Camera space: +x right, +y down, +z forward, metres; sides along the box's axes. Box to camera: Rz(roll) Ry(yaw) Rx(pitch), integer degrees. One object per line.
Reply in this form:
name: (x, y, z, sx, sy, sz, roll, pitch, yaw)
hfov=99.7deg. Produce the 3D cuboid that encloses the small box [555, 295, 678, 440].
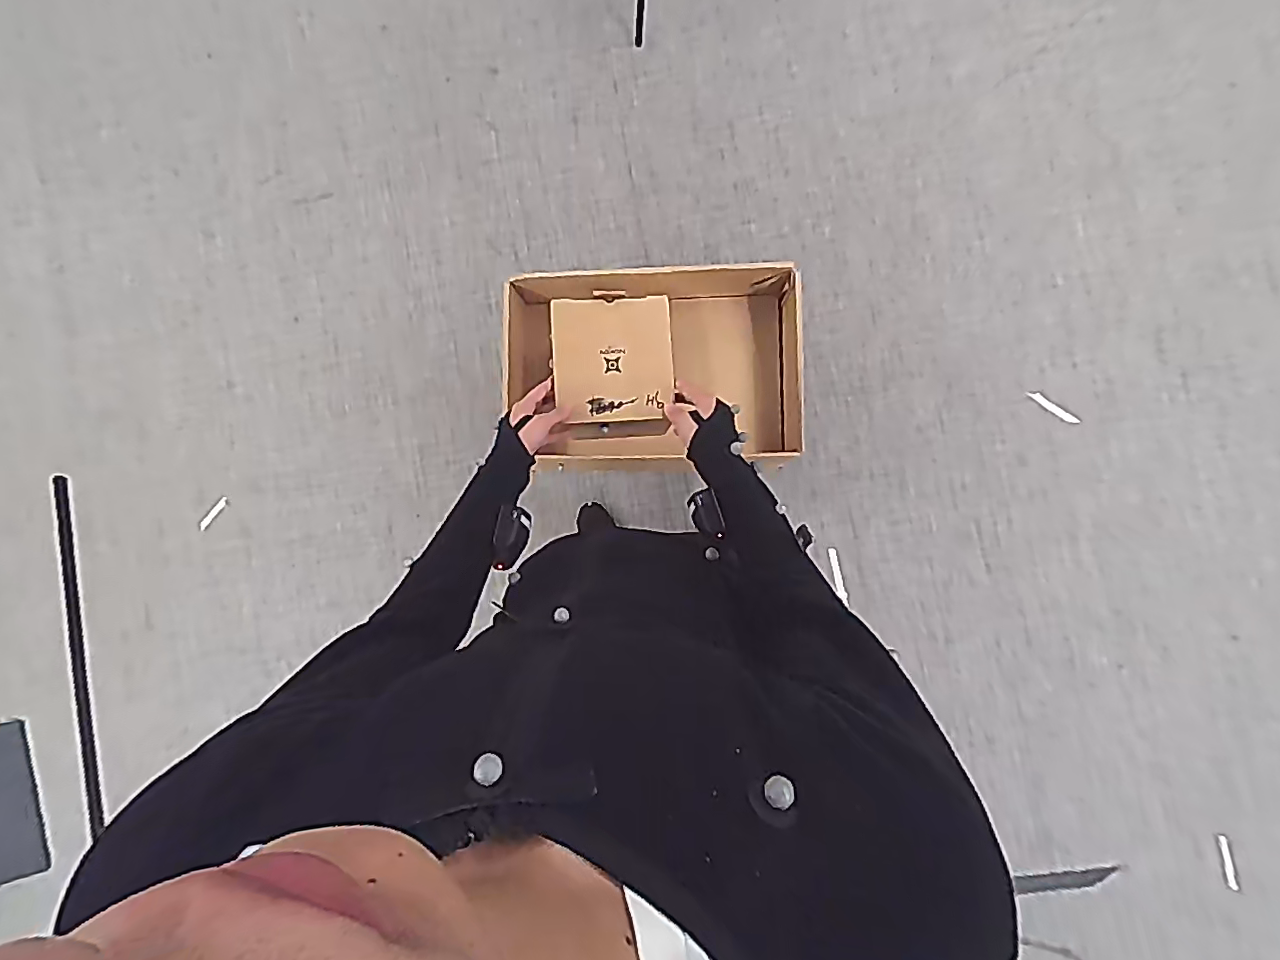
small box: (-0.037, -0.161, 0.818, 0.168, 0.176, 0.179, -3, 86, -2)
